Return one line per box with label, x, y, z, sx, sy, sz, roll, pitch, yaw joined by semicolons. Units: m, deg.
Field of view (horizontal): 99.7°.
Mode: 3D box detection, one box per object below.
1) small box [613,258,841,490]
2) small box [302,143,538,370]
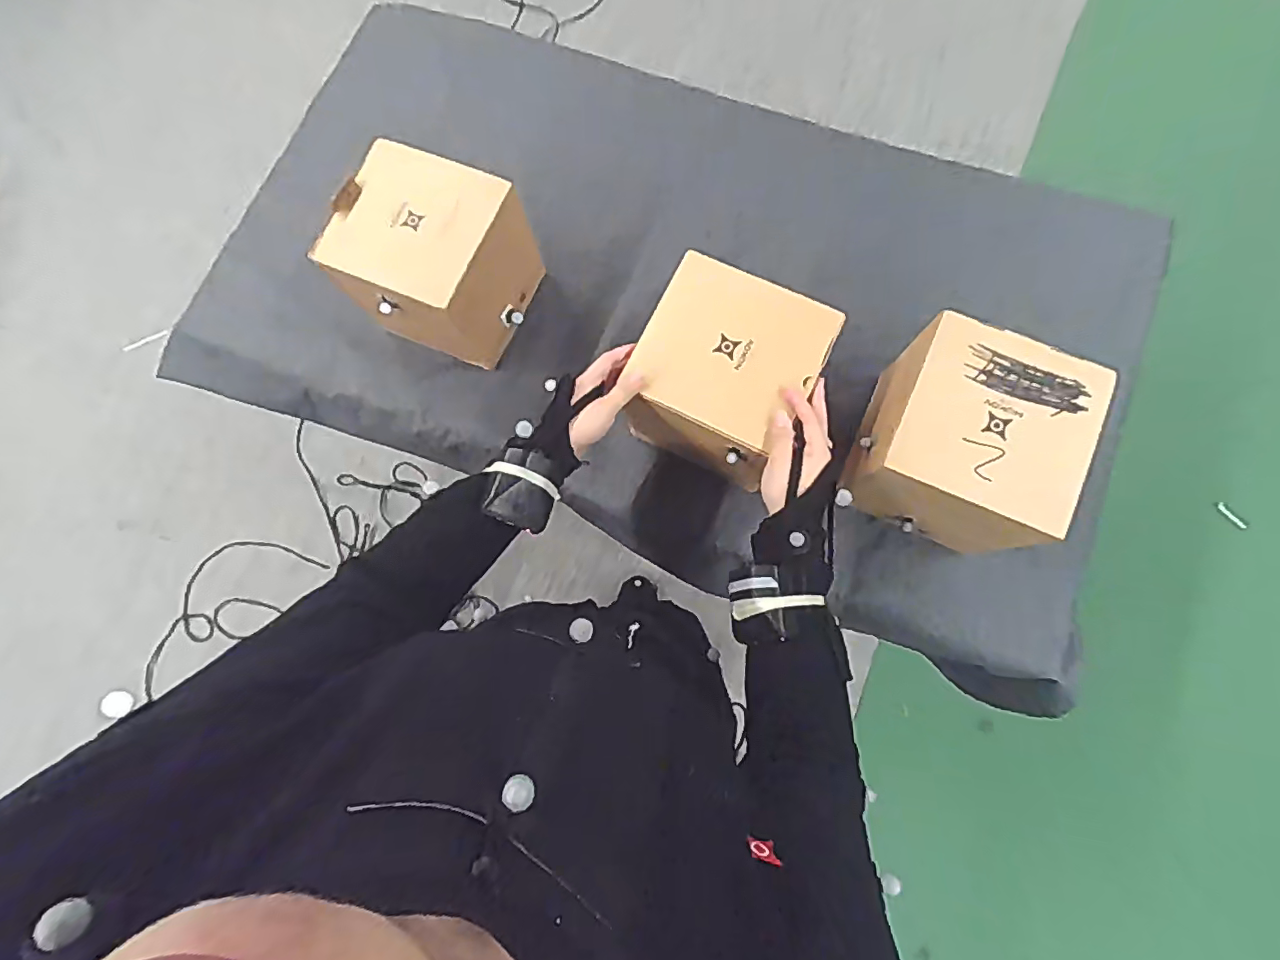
small box;0.089;-0.104;0.605;0.179;0.176;0.168;26;79;8
small box;-0.248;-0.257;0.658;0.179;0.176;0.168;22;80;7
